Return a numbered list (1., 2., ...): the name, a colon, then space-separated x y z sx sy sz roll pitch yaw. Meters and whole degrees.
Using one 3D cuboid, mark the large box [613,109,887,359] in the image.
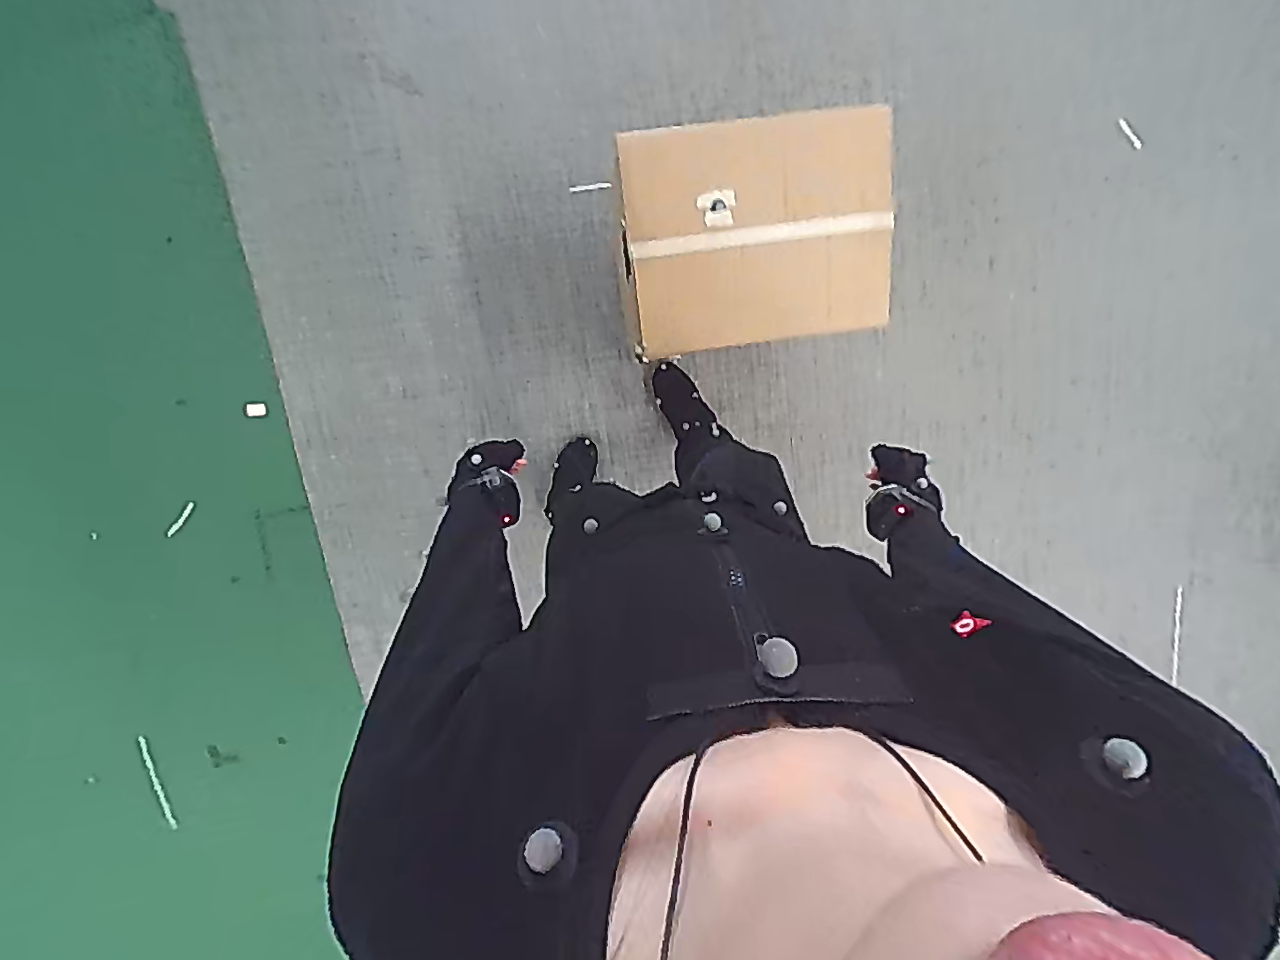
1. large box: 0.170 -0.405 0.958 0.408 0.320 0.320 -7 106 -1
